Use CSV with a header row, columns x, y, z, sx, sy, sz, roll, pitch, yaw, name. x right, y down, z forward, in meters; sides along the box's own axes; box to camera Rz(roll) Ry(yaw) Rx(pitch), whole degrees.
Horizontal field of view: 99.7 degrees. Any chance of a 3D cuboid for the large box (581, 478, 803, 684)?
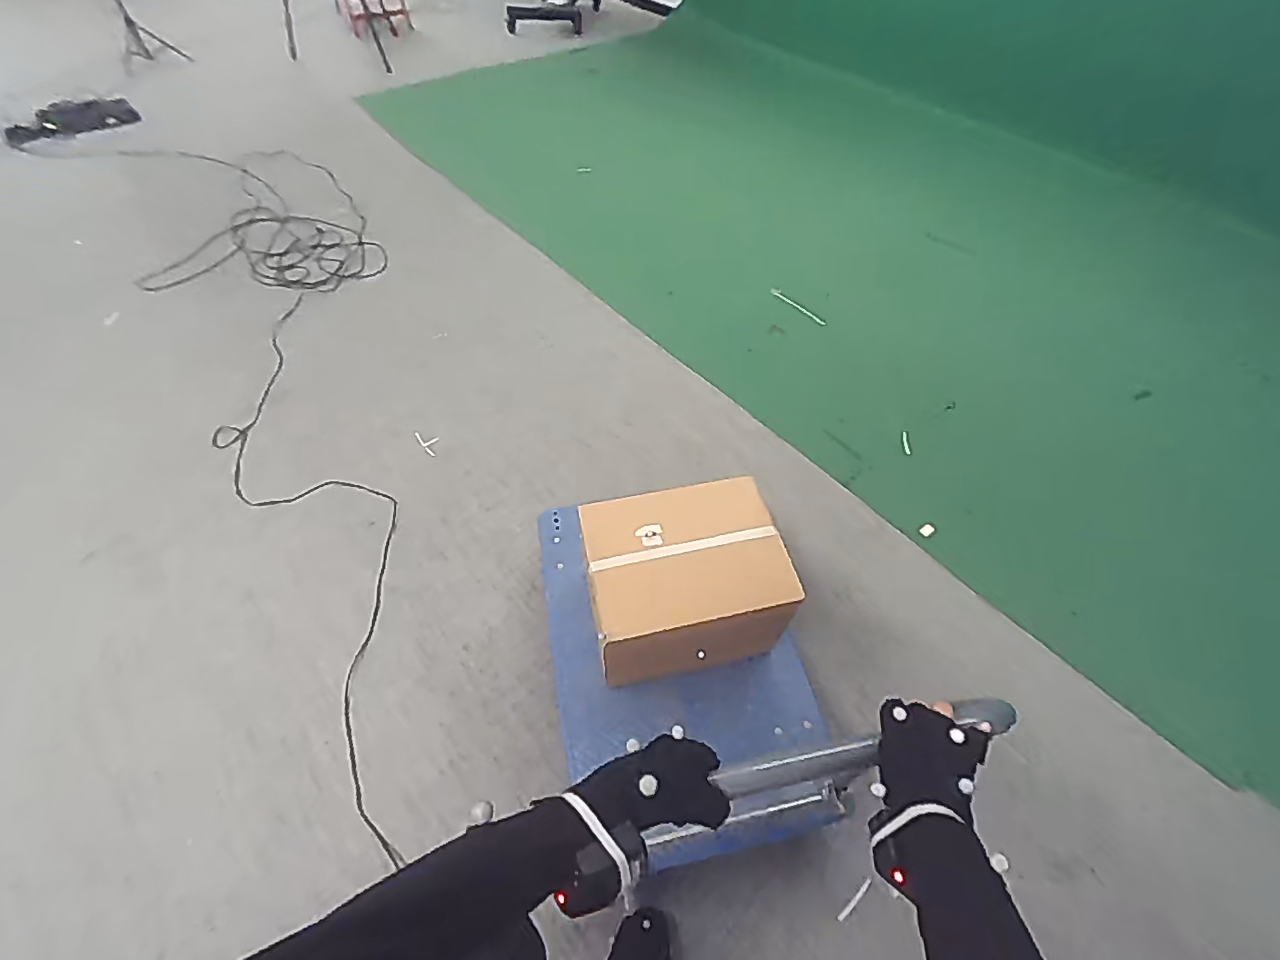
x,y,z,sx,sy,sz,roll,pitch,yaw,name
0.097,0.237,1.247,0.408,0.320,0.320,-11,55,-9,large box
